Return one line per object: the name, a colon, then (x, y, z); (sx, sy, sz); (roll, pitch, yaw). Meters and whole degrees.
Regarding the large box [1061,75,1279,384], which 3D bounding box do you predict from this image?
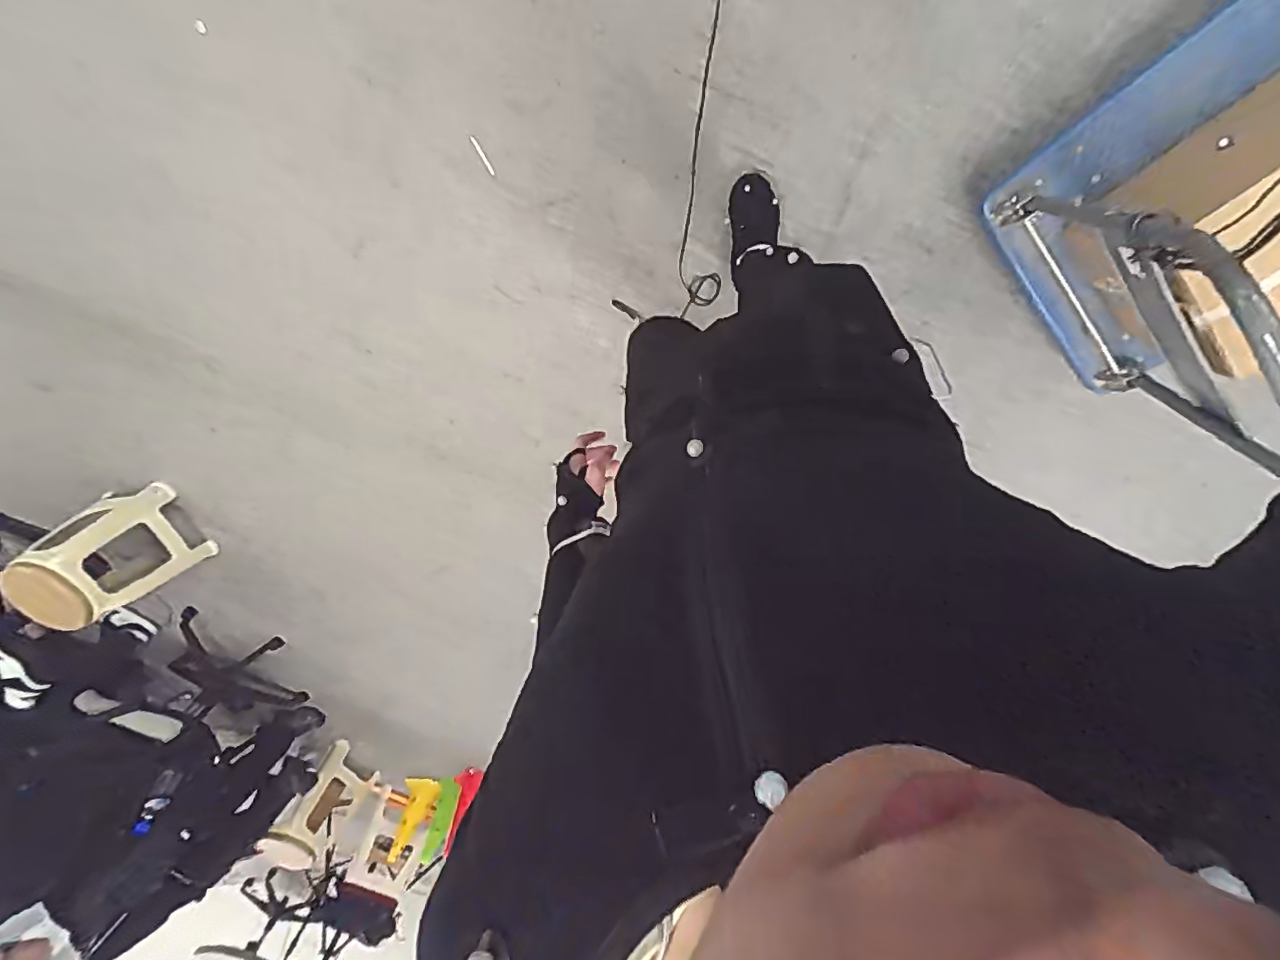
large box: (1.096, -0.450, 0.957); (0.408, 0.320, 0.320); (-38, 108, 25)
